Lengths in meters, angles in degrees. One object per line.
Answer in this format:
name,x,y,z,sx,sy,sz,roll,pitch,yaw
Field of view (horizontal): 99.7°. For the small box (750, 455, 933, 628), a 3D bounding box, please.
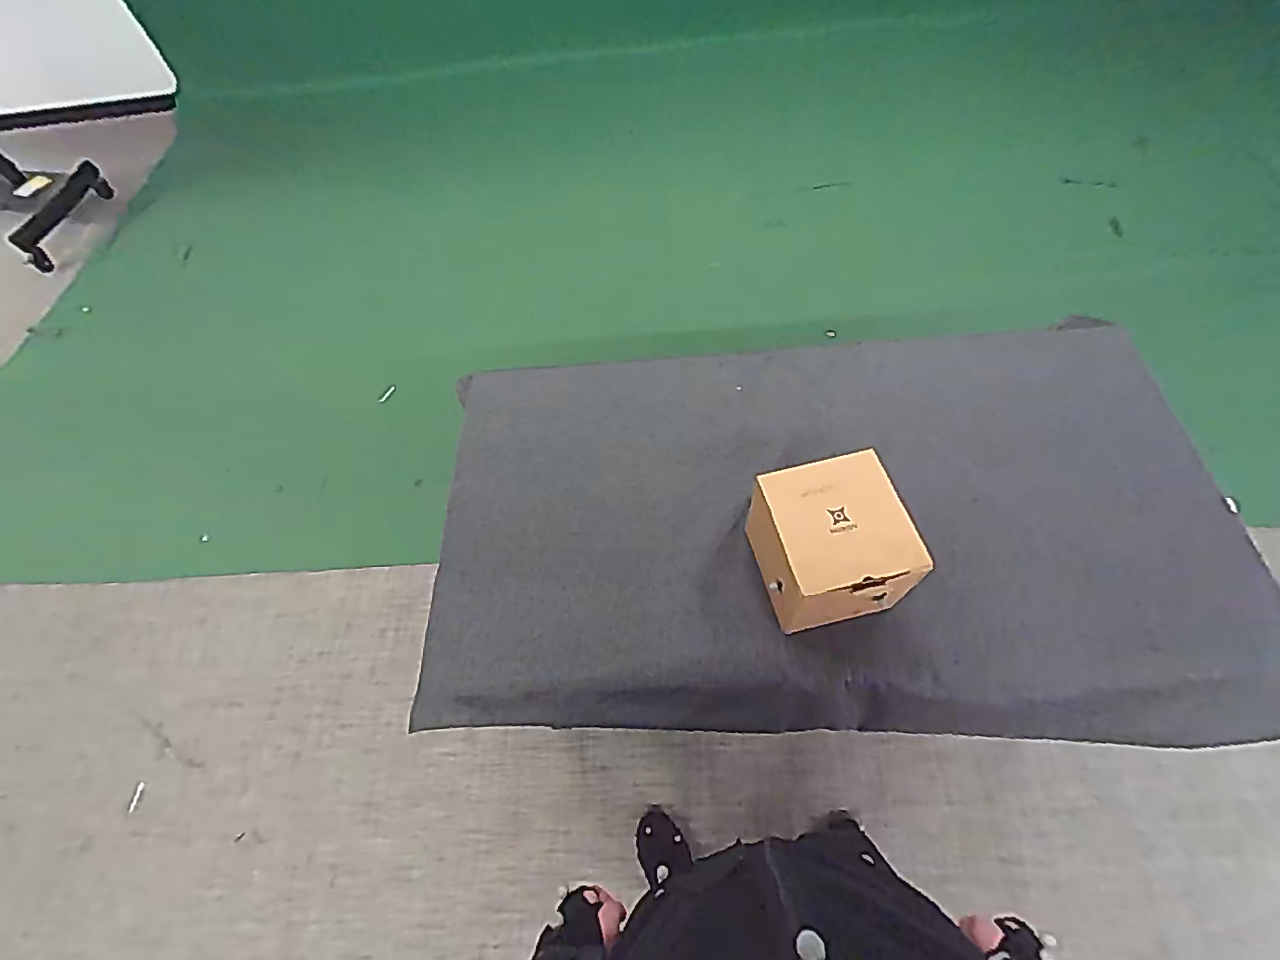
small box,0.263,0.095,0.754,0.168,0.176,0.179,-13,59,-4
